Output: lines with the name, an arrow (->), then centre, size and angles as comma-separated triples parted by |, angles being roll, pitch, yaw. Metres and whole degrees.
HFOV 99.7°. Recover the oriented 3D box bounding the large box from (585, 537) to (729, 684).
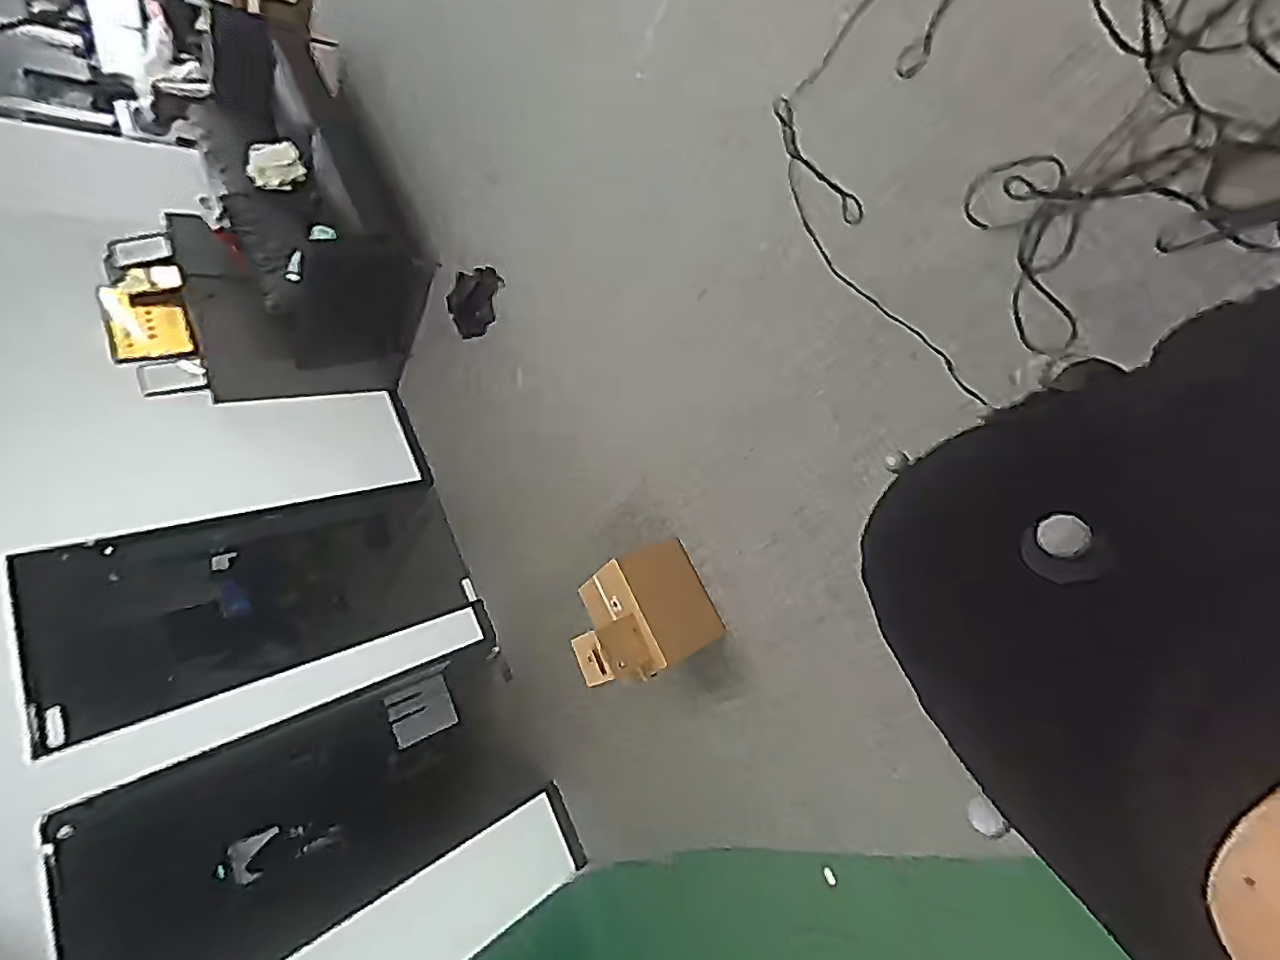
large box -> 0.058, 0.478, 2.013 | 0.320, 0.320, 0.408 | -45, 65, 45
